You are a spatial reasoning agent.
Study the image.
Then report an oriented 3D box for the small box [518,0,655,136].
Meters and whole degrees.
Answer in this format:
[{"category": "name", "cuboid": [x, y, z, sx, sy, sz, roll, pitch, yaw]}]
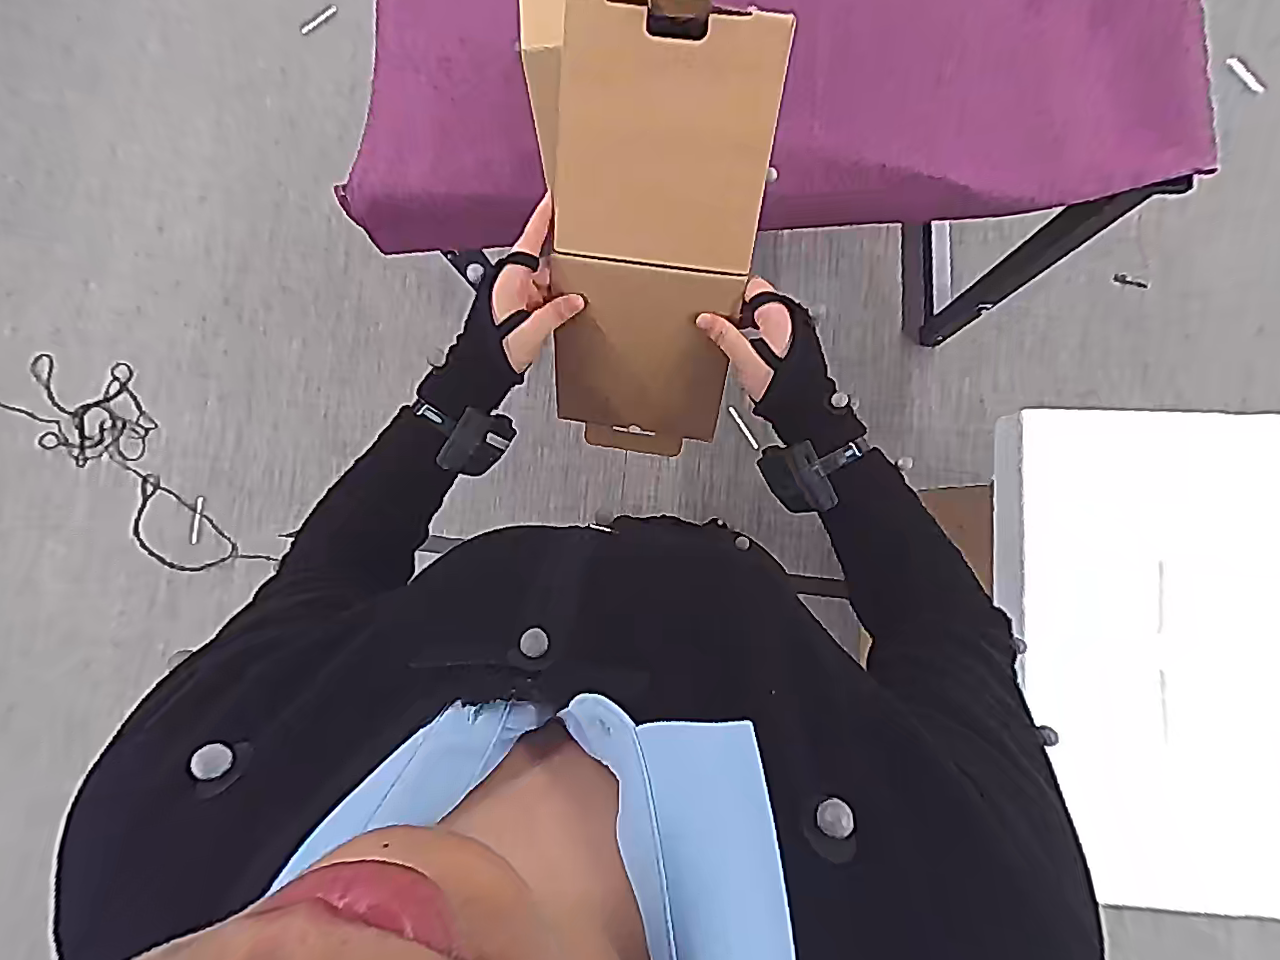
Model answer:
[{"category": "small box", "cuboid": [-0.068, -0.617, 0.760, 0.168, 0.176, 0.179, -3, 83, 3]}]
